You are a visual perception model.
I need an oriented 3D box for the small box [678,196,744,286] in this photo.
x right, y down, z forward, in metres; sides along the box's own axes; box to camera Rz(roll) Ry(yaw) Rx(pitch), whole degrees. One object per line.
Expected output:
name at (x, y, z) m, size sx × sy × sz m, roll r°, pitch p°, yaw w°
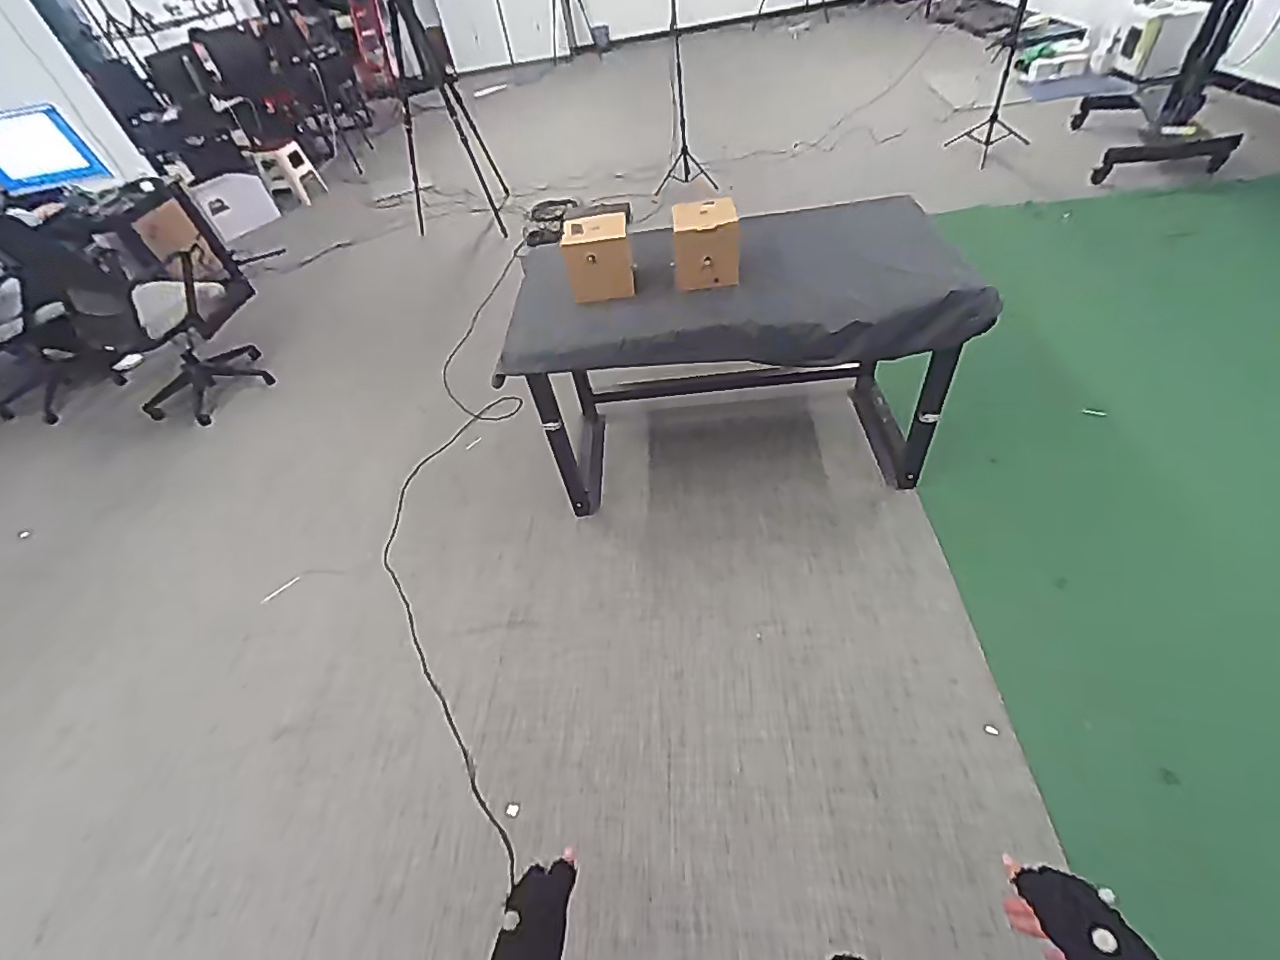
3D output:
small box at (0.195, -0.644, 1.476) m, size 0.168 × 0.176 × 0.179 m, roll -5°, pitch 47°, yaw 7°

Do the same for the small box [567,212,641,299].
small box at (-0.095, -0.622, 1.511) m, size 0.179 × 0.176 × 0.168 m, roll -6°, pitch 47°, yaw 5°
